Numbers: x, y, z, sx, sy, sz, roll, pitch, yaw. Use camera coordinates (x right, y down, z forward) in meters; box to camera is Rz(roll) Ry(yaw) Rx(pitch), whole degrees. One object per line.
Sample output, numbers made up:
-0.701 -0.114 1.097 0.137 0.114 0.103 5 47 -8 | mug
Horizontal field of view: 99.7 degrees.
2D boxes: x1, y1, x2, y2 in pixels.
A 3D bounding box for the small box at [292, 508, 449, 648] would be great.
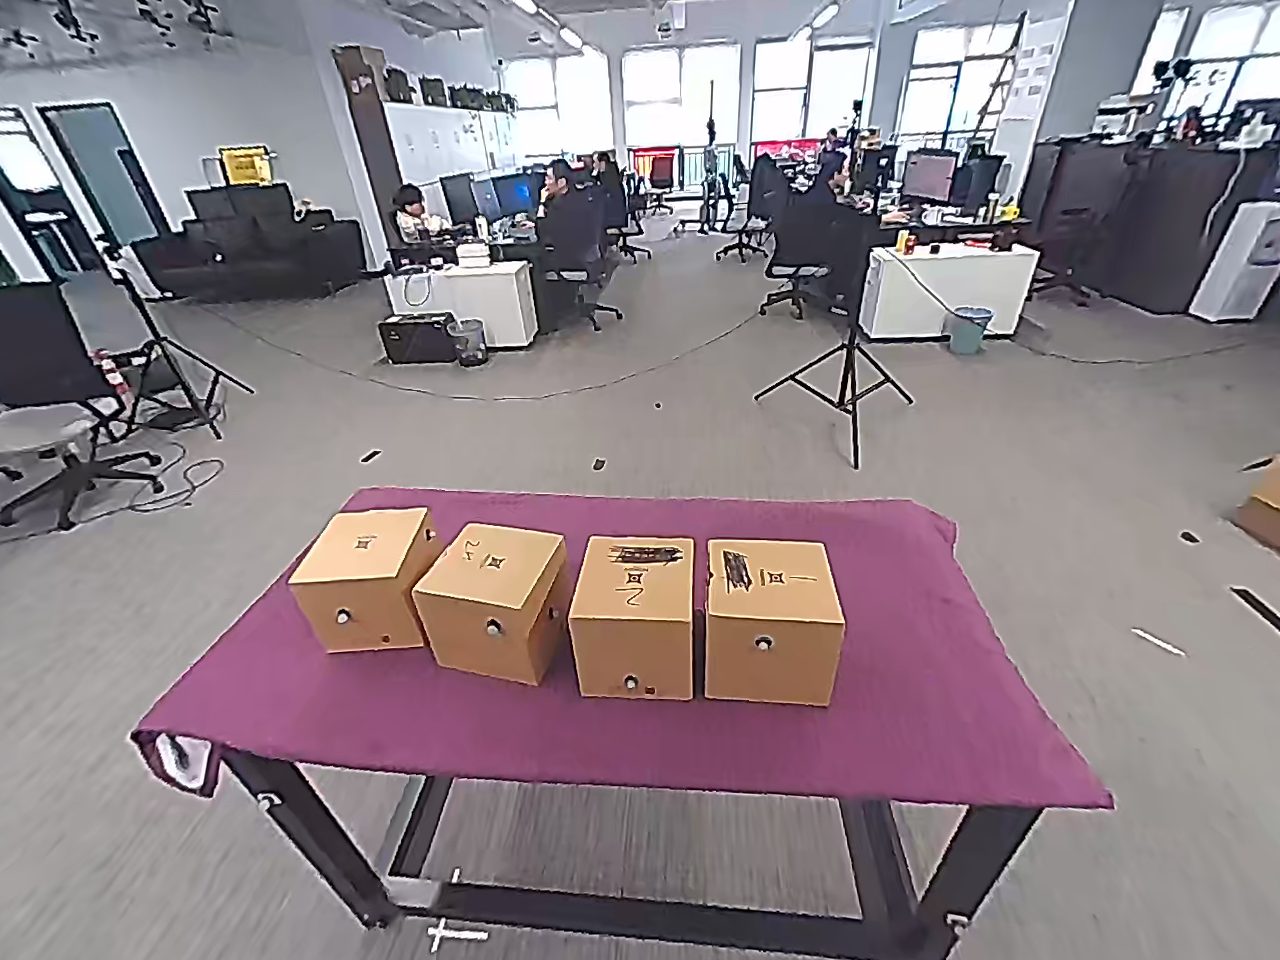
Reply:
-0.443 0.170 0.926 0.168 0.176 0.179 -5 33 -1 | small box
